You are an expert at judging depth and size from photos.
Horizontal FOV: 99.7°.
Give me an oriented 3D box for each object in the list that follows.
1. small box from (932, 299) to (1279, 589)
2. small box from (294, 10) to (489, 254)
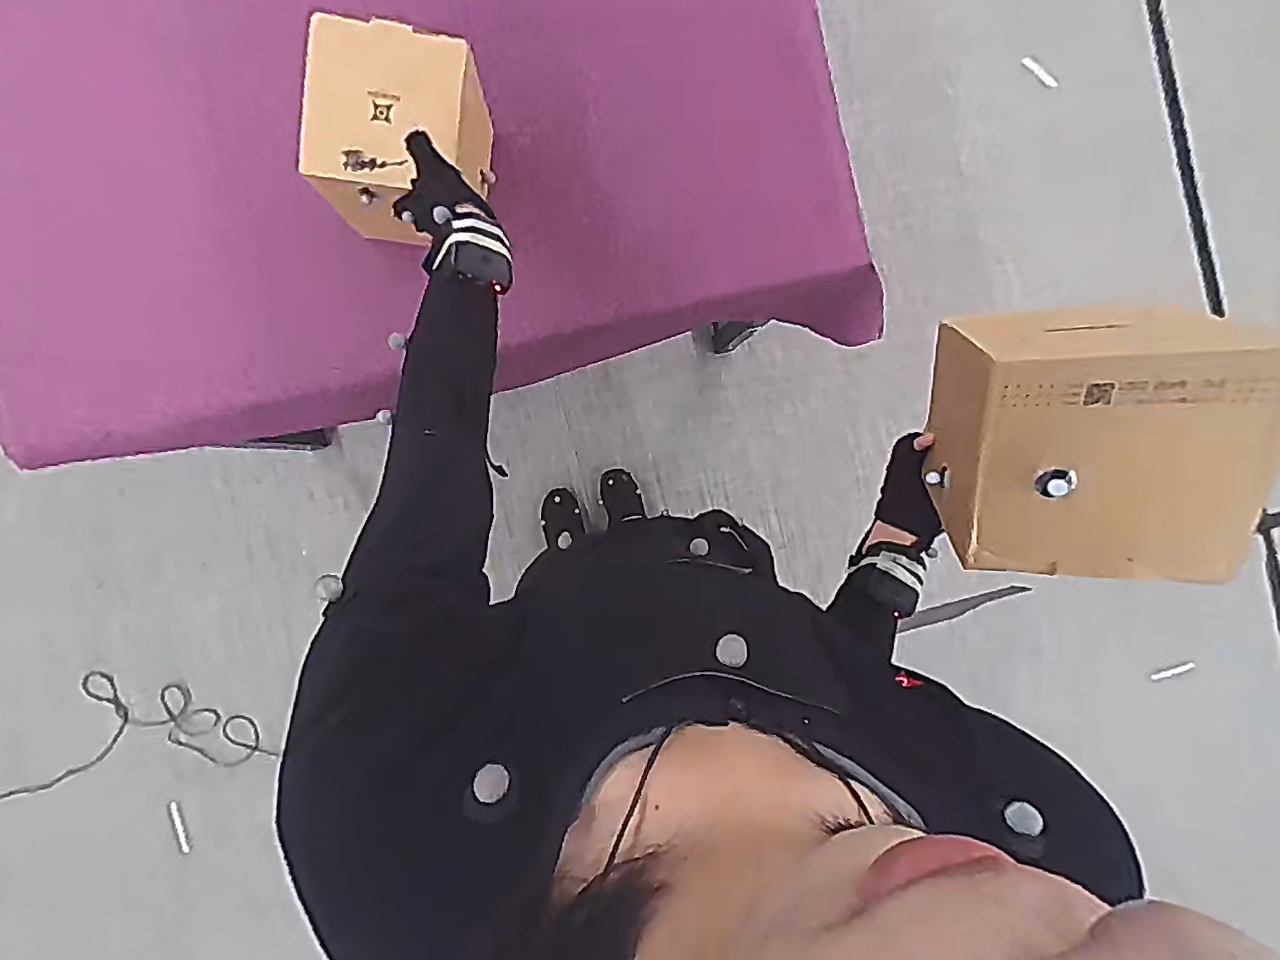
[{"bbox_3d":[0.343,-0.039,0.421,0.168,0.179,0.176,2,115,17],"label":"small box"},{"bbox_3d":[-0.287,-0.407,0.663,0.168,0.176,0.179,6,90,-6],"label":"small box"}]
